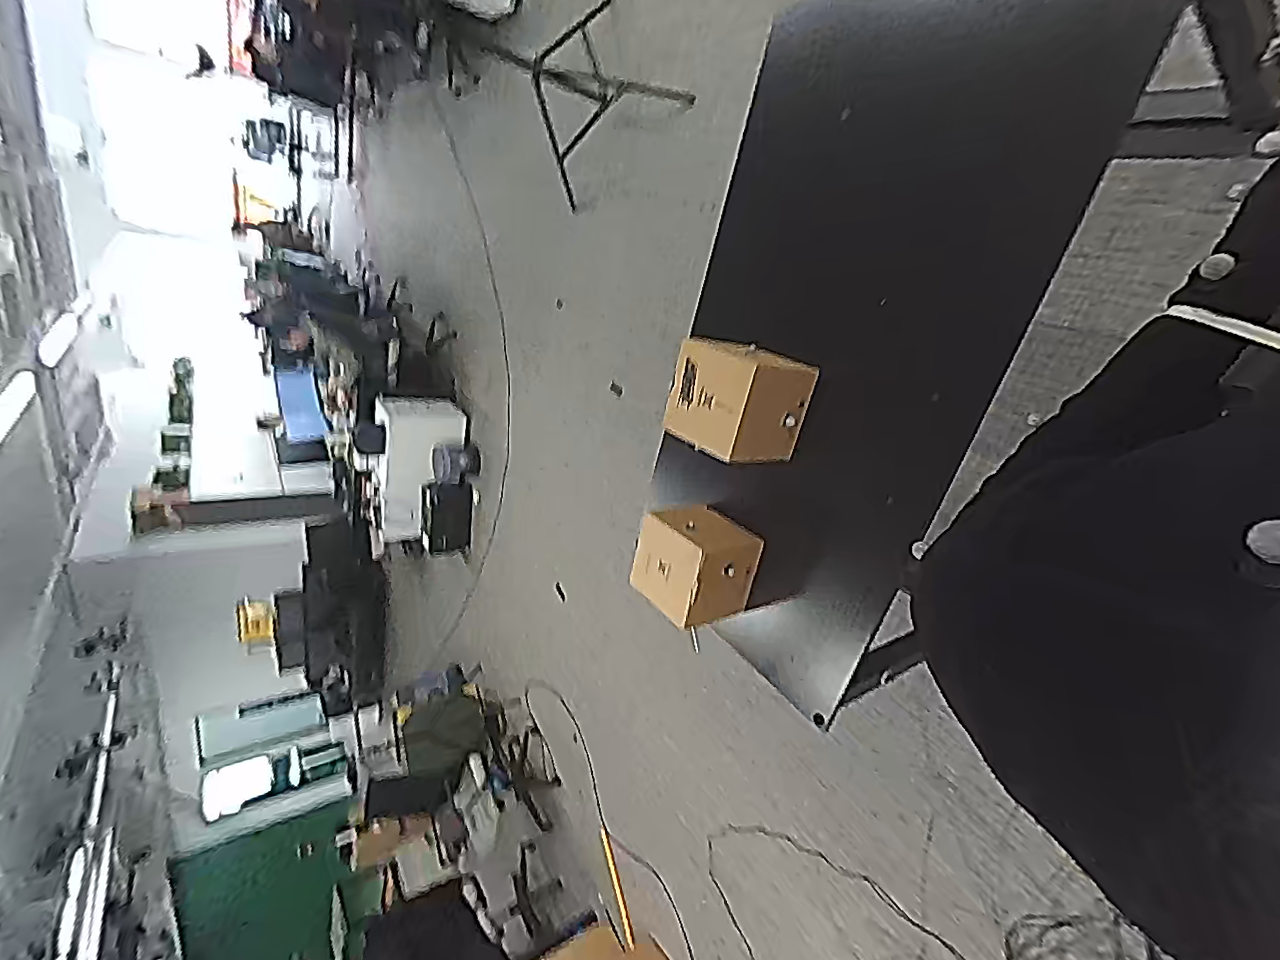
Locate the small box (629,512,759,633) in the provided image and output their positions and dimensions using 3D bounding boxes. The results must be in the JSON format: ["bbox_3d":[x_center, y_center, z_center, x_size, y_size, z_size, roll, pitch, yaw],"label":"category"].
[{"bbox_3d":[0.106,0.170,1.064,0.179,0.176,0.168,33,117,47],"label":"small box"}]

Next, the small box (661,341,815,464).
[{"bbox_3d":[0.169,-0.136,0.951,0.179,0.176,0.168,35,120,44],"label":"small box"}]
